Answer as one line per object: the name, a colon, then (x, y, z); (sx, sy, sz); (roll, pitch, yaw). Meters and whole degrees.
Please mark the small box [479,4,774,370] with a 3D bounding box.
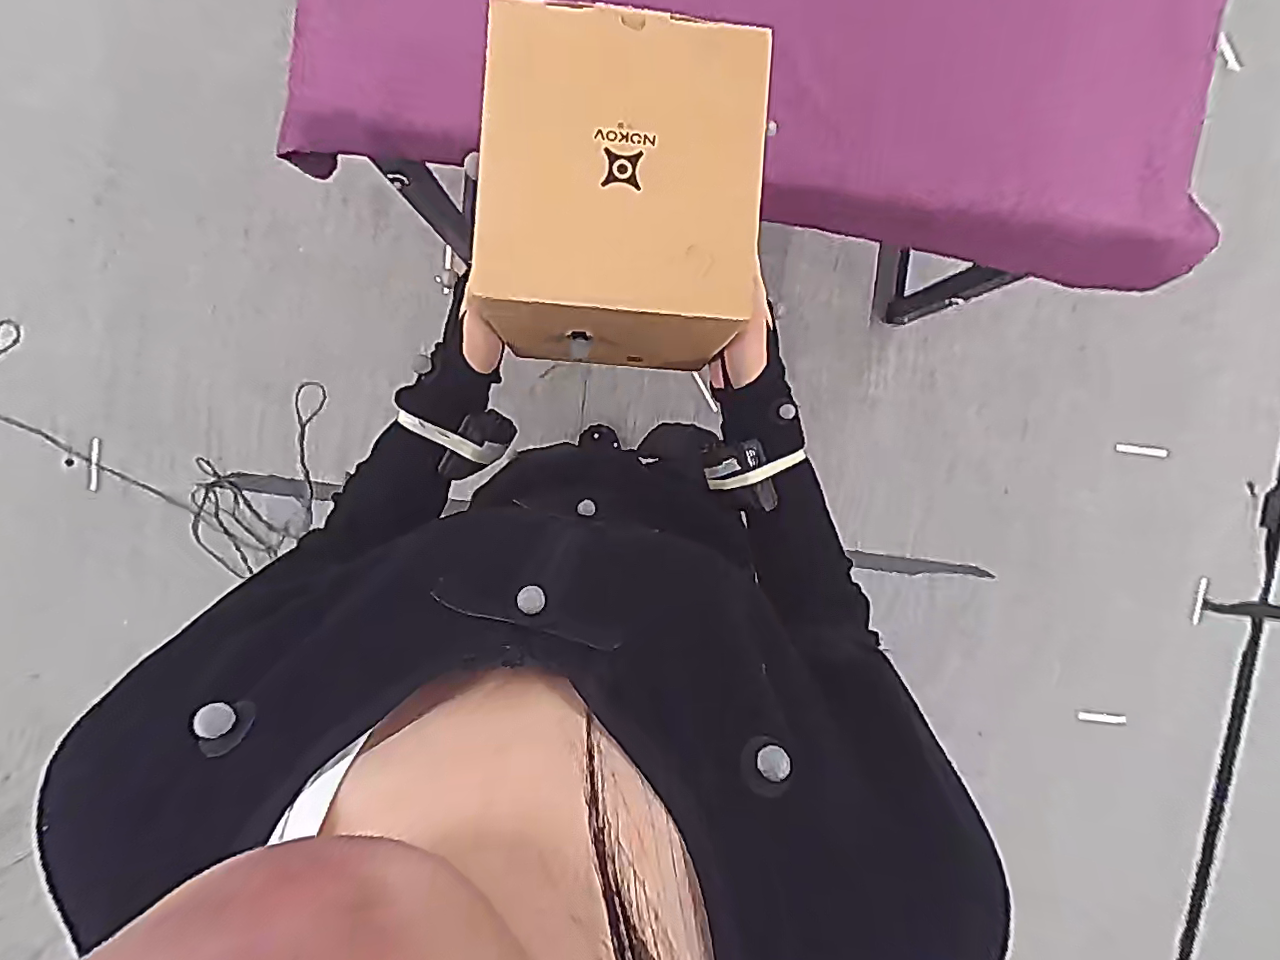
small box: (-0.012, -0.186, 0.400); (0.168, 0.176, 0.179); (4, 89, -4)
